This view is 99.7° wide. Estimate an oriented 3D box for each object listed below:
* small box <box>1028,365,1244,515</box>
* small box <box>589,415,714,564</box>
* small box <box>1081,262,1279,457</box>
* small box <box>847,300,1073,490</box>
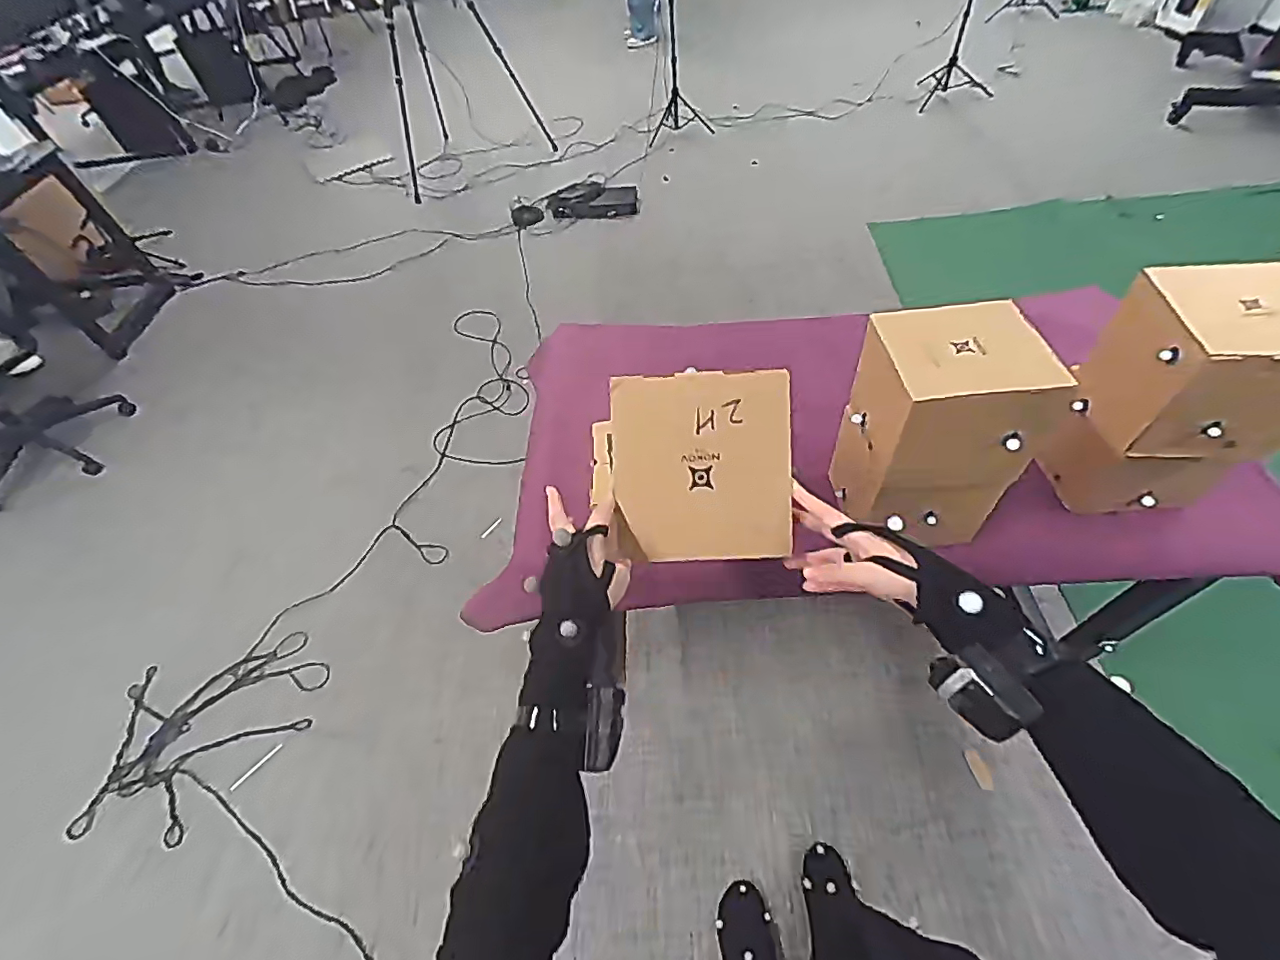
[{"bbox_3d":[0.742,-0.063,0.817,0.179,0.176,0.168,-6,50,6],"label":"small box"},{"bbox_3d":[0.022,0.021,0.854,0.179,0.176,0.168,-5,50,3],"label":"small box"},{"bbox_3d":[0.709,-0.149,0.680,0.168,0.176,0.179,1,52,10],"label":"small box"},{"bbox_3d":[0.384,-0.104,0.690,0.179,0.176,0.168,-5,49,6],"label":"small box"}]
